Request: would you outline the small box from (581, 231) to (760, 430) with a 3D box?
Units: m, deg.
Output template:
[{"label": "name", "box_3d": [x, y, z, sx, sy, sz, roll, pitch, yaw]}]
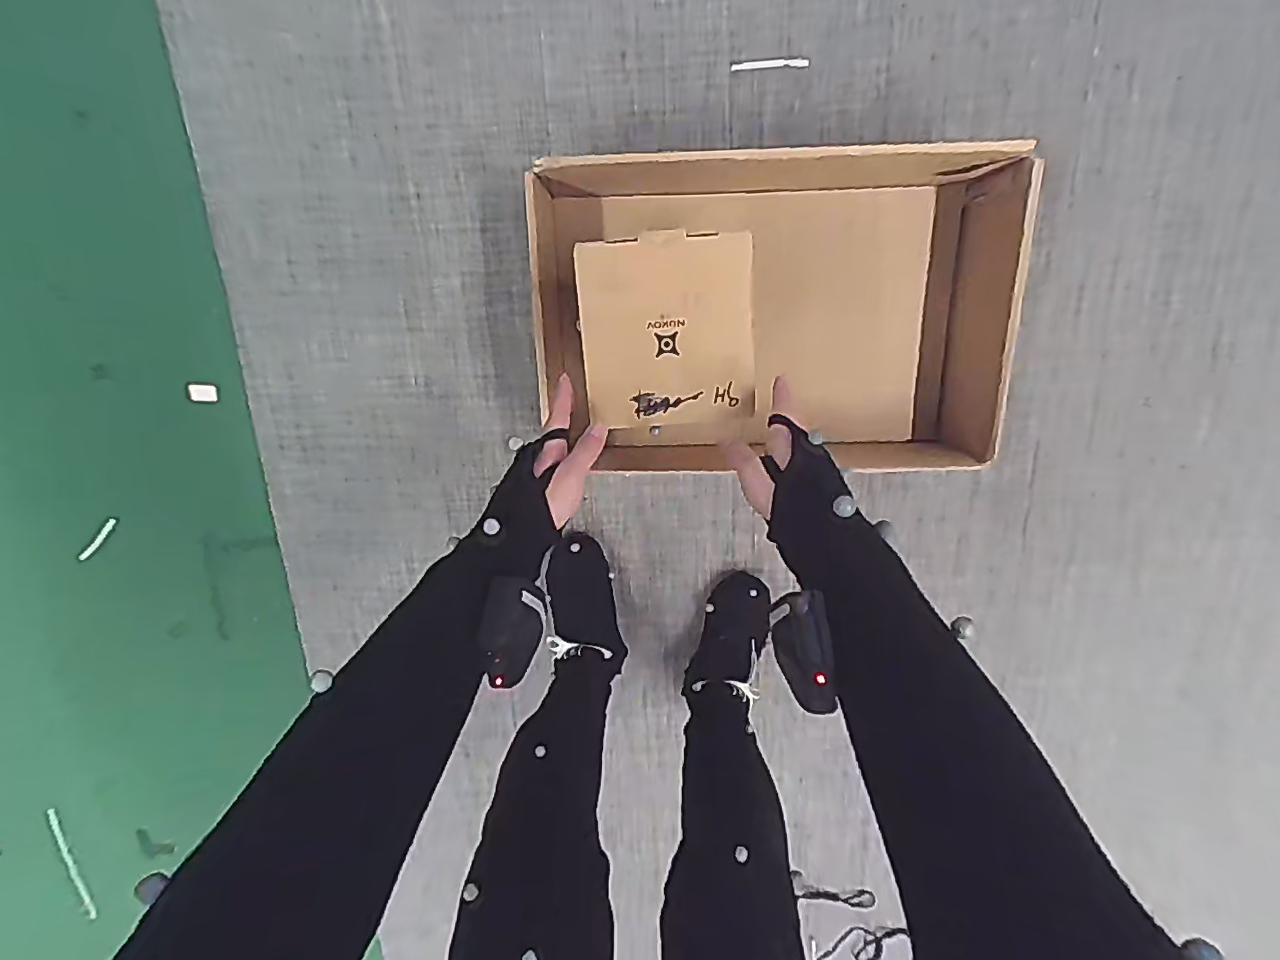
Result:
[{"label": "small box", "box_3d": [0.033, -0.155, 0.586, 0.168, 0.176, 0.179, -3, 104, 3]}]
